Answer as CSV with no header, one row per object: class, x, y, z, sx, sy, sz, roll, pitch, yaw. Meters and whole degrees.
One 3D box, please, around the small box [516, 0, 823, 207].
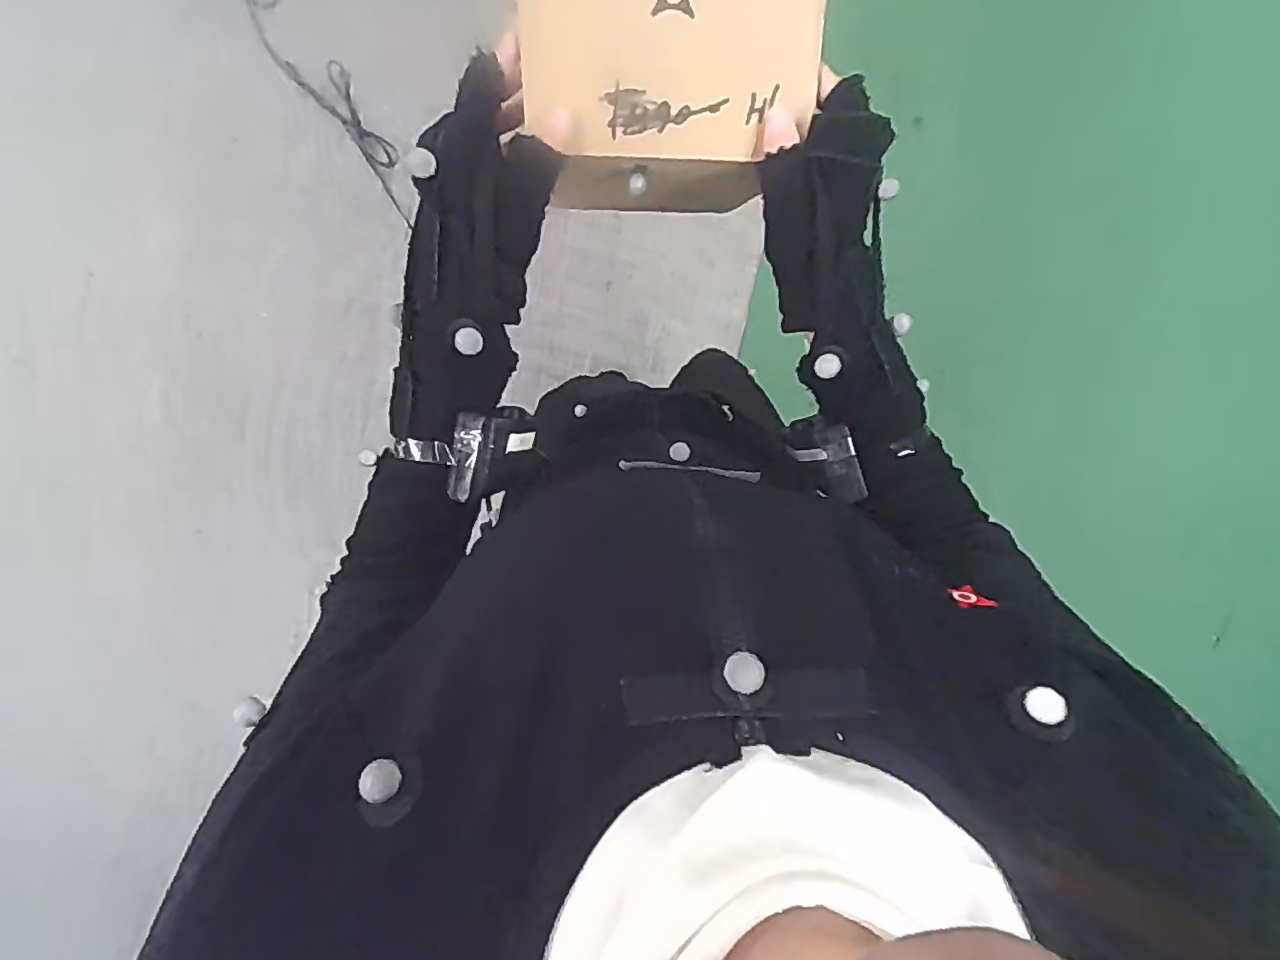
small box,0.007,-0.293,0.351,0.168,0.176,0.179,-2,107,-7
